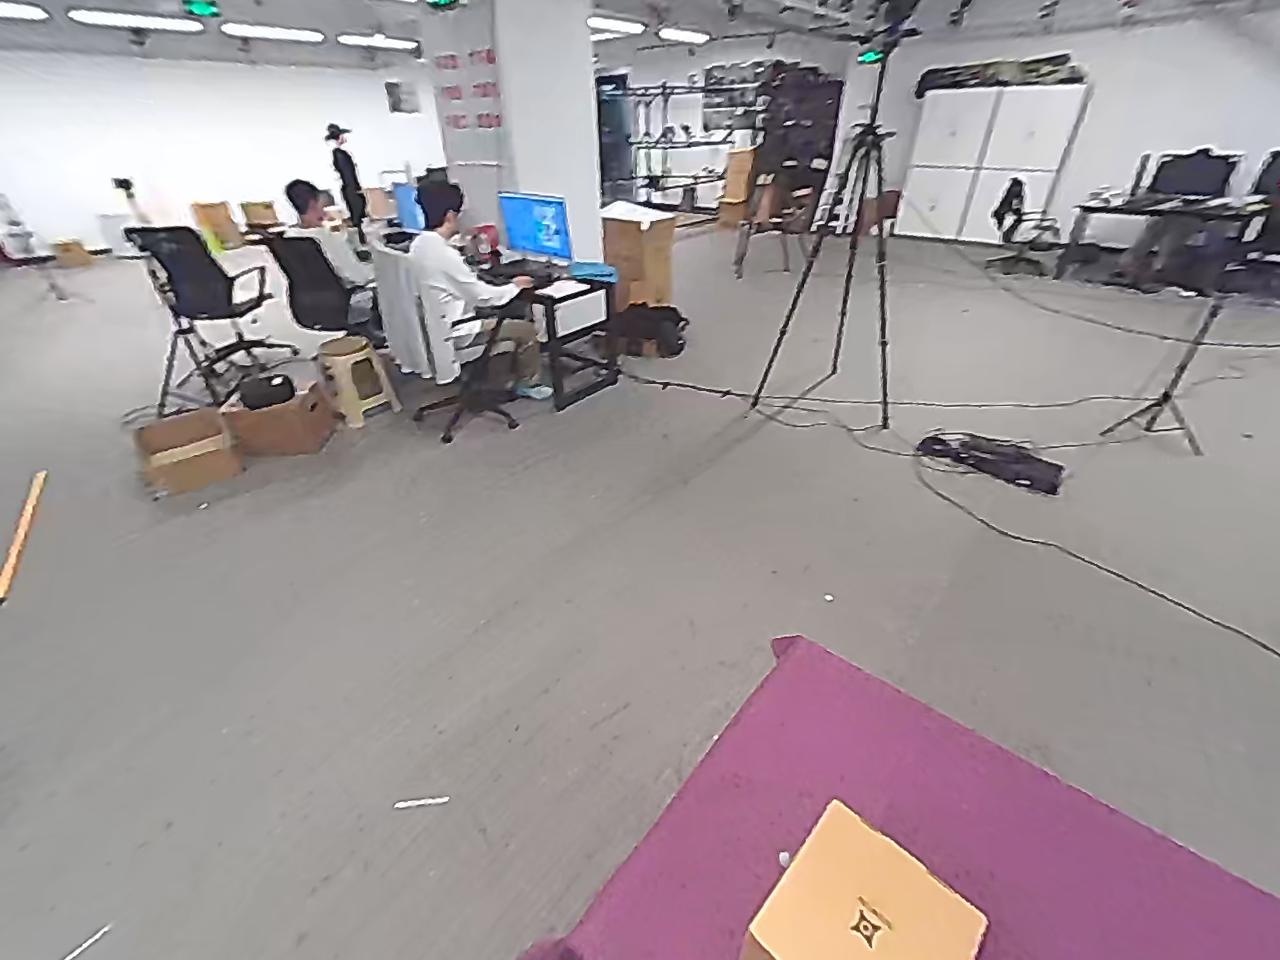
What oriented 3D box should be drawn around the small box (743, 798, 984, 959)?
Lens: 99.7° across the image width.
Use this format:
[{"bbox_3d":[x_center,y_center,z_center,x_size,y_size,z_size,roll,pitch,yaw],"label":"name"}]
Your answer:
[{"bbox_3d":[0.222,0.498,0.570,0.179,0.176,0.168,-29,42,-36],"label":"small box"}]
